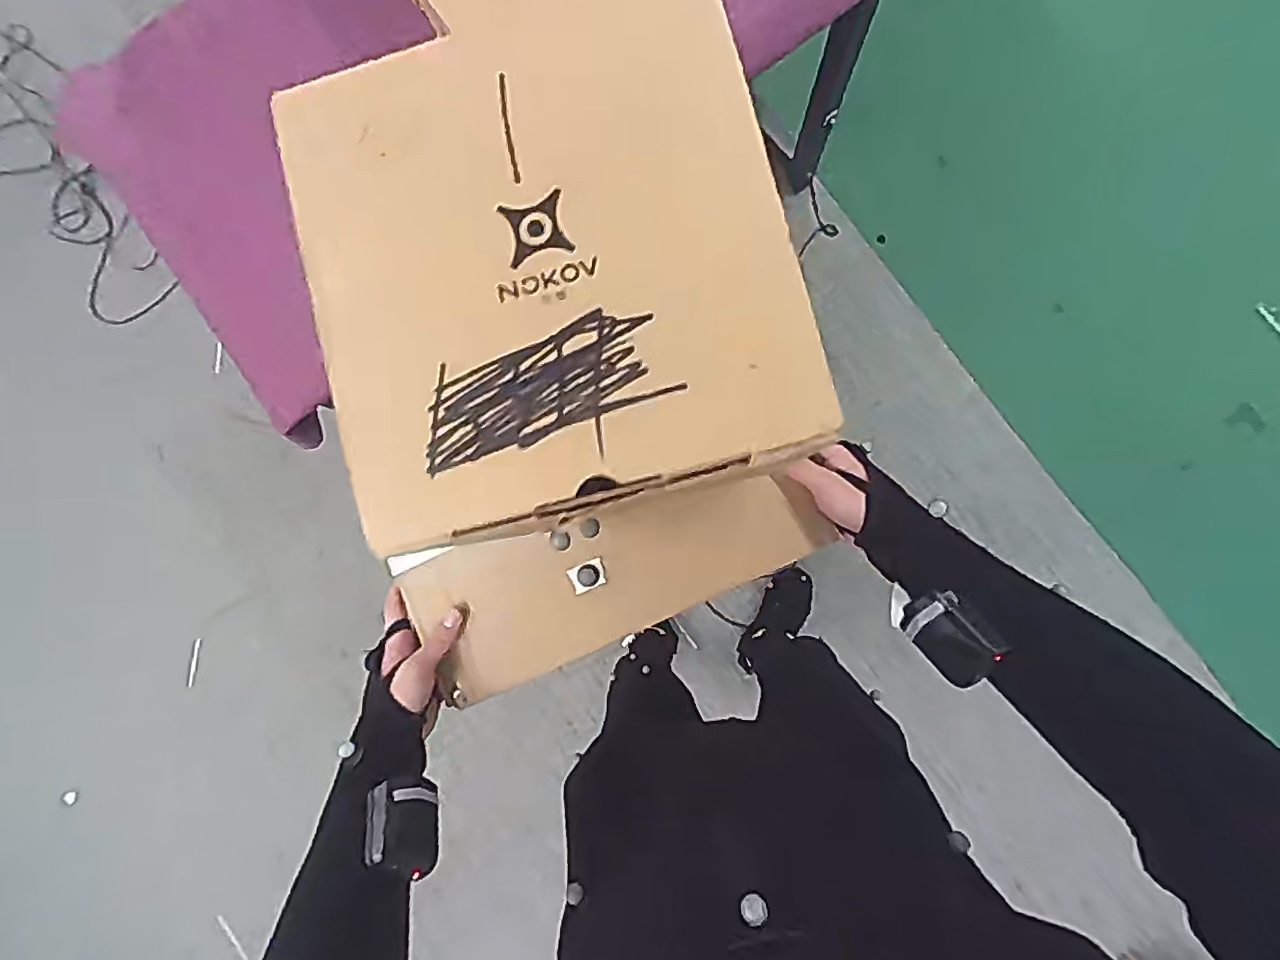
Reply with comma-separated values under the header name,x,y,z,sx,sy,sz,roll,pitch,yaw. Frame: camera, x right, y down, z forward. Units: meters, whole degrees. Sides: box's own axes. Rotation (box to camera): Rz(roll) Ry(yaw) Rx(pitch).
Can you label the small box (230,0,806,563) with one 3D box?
name,x,y,z,sx,sy,sz,roll,pitch,yaw
small box,-0.037,-0.071,0.256,0.168,0.176,0.179,-14,85,5
